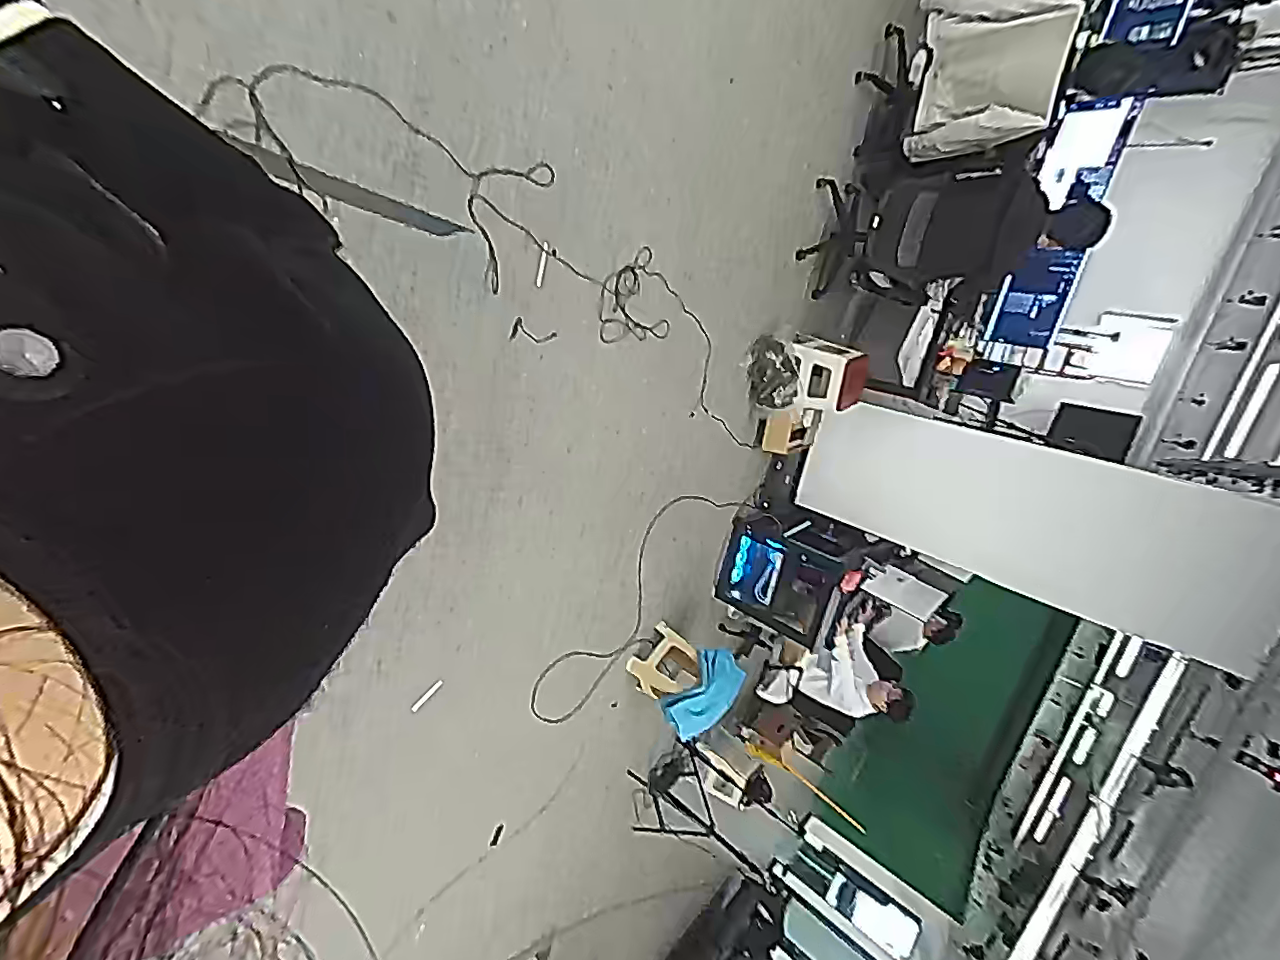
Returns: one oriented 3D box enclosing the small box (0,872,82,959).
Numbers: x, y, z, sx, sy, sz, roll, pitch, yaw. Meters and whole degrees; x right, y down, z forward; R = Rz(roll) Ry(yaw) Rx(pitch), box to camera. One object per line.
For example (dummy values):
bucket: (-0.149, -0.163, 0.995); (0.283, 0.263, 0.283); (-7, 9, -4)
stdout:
small box: (-0.735, 0.589, 0.585); (0.168, 0.176, 0.179); (5, 102, -54)
